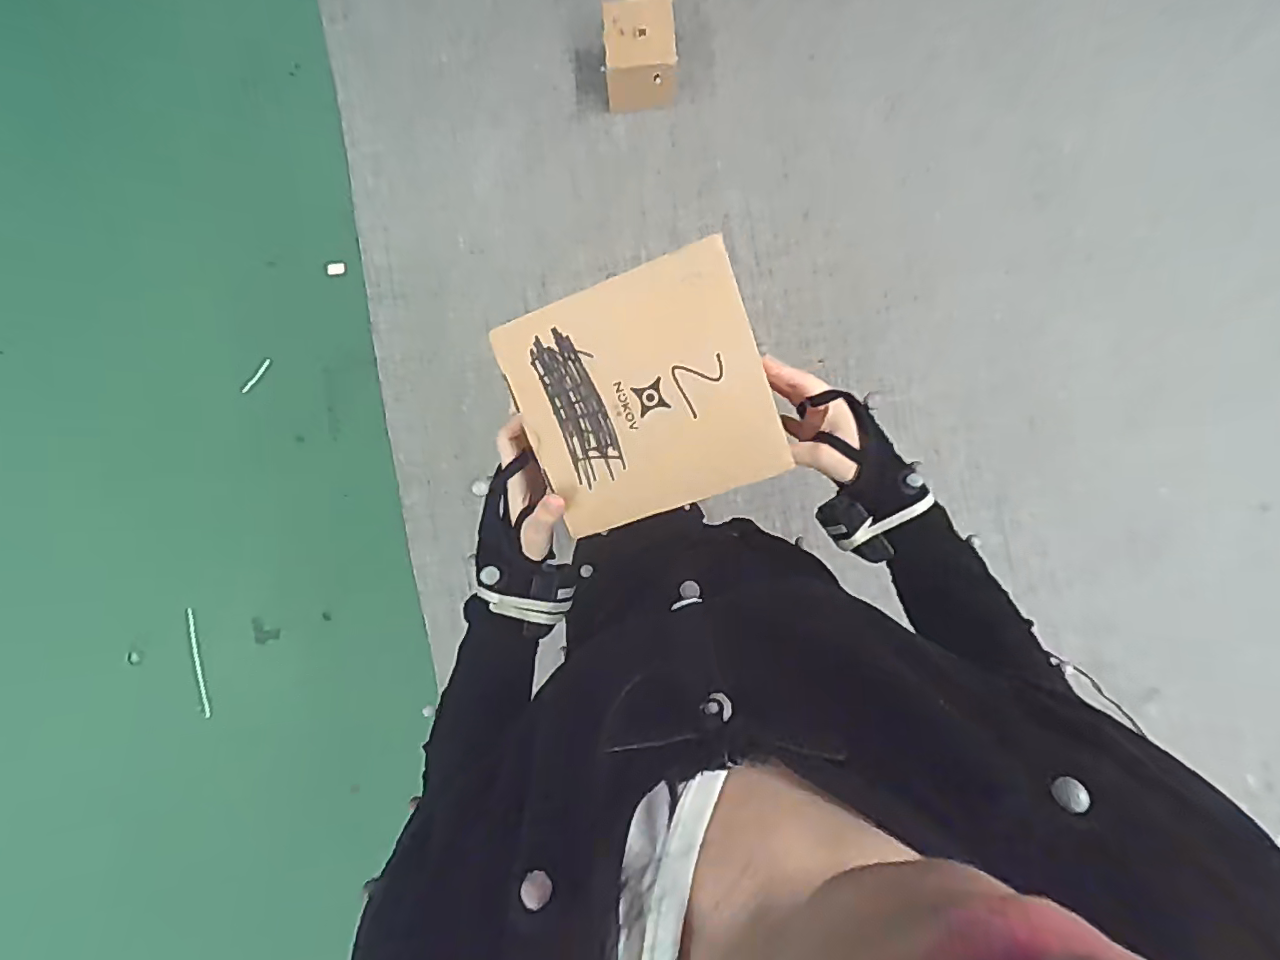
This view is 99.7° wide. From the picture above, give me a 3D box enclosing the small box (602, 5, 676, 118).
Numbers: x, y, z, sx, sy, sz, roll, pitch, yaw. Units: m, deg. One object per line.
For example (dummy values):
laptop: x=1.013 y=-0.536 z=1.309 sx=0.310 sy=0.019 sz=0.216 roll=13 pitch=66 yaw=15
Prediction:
small box: x=-0.002 y=-1.080 z=1.408 sx=0.179 sy=0.176 sz=0.168 roll=-4 pitch=91 yaw=1
